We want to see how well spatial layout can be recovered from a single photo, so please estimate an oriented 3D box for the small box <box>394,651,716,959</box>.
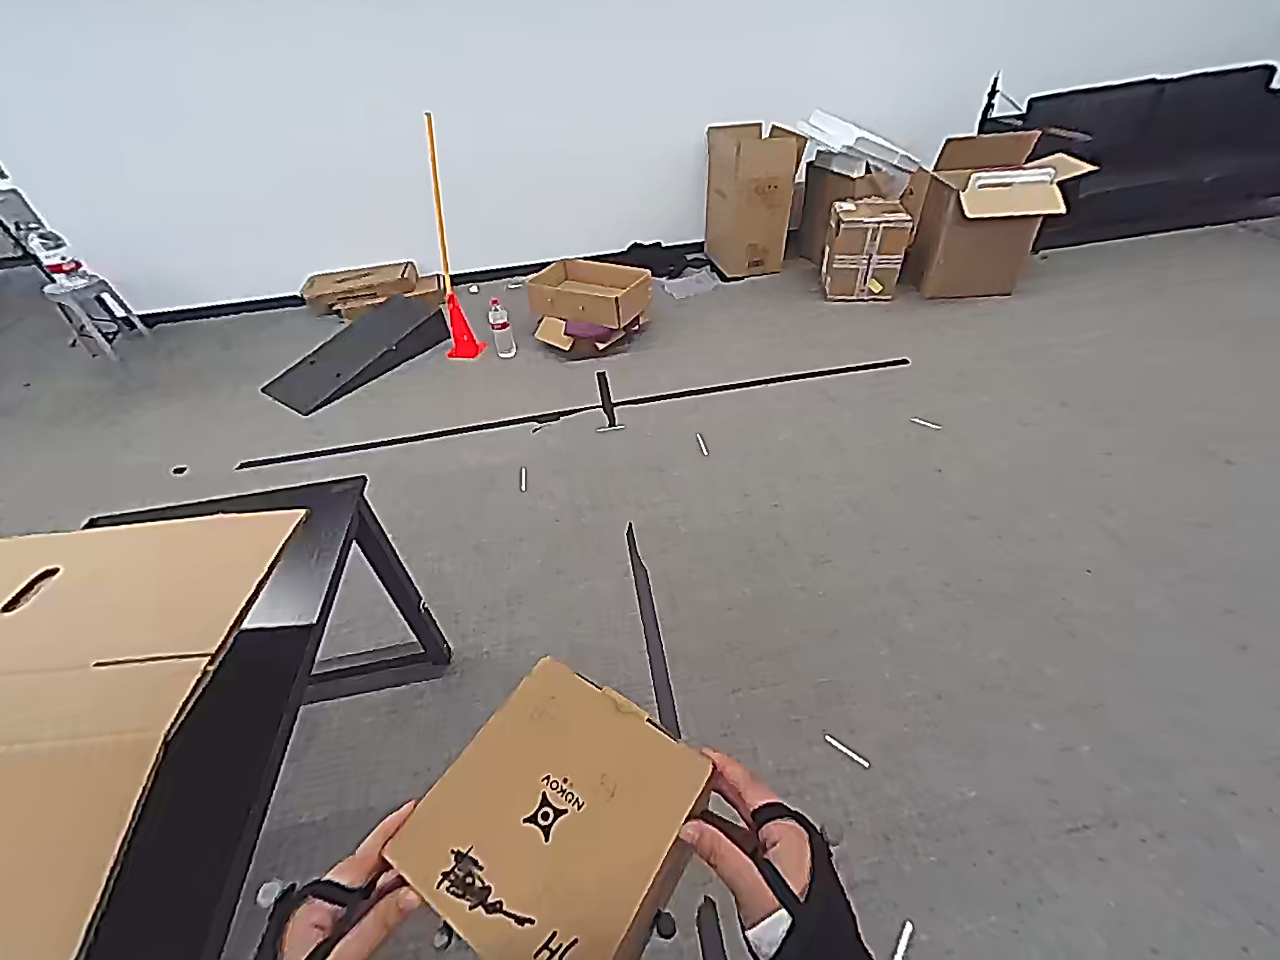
[{"bbox_3d":[-0.055,0.285,0.440,0.168,0.176,0.179,22,48,27],"label":"small box"}]
